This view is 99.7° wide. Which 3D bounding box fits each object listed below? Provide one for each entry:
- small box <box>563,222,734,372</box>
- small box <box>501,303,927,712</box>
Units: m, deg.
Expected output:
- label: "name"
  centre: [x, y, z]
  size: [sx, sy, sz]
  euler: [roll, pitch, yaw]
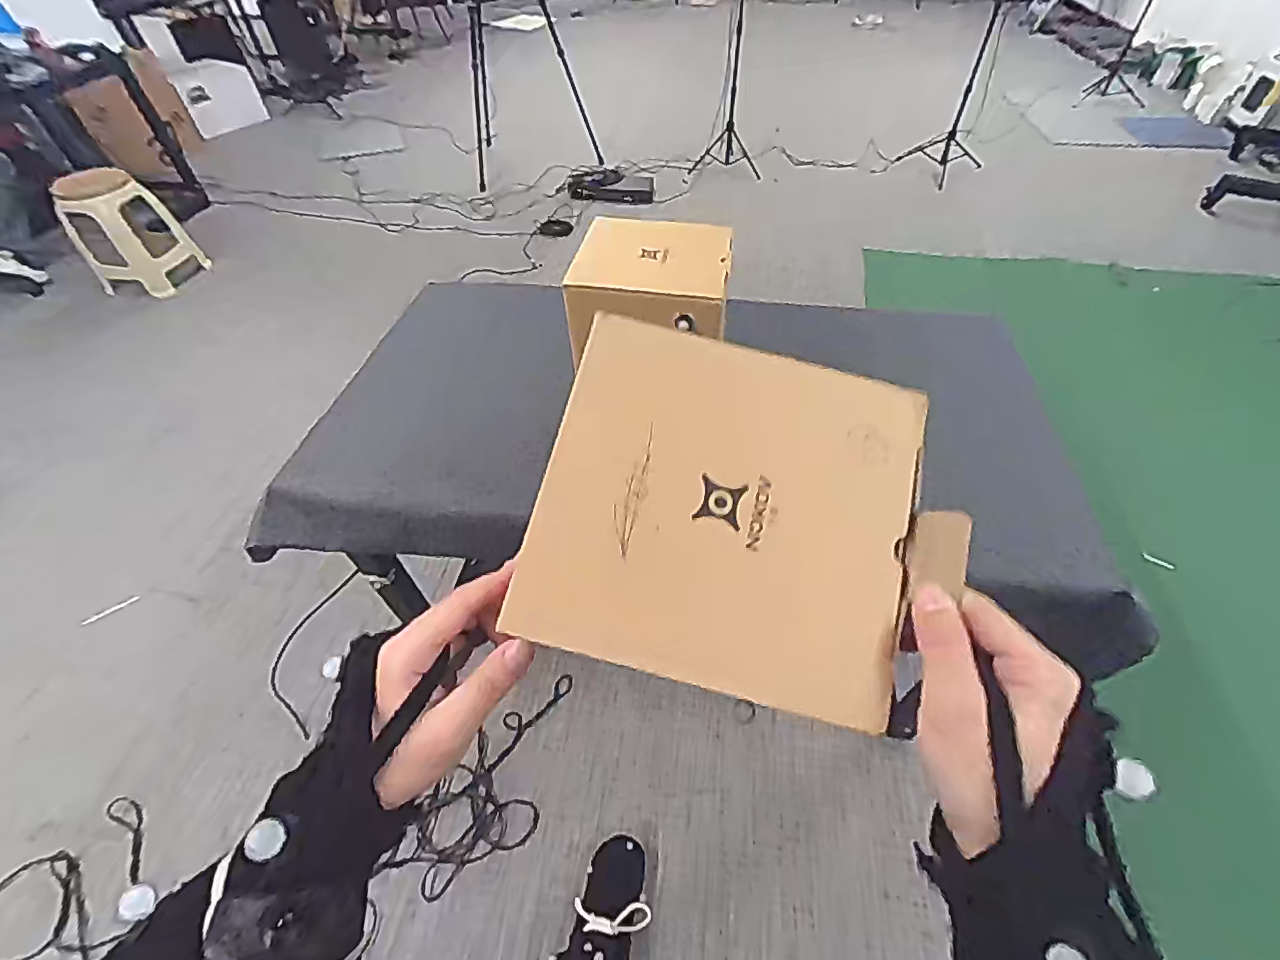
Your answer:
- label: "small box"
  centre: [0.016, -0.199, 0.675]
  size: [0.179, 0.176, 0.168]
  euler: [8, 49, 6]
- label: "small box"
  centre: [0.040, 0.025, 0.331]
  size: [0.179, 0.176, 0.168]
  euler: [14, 74, 3]
